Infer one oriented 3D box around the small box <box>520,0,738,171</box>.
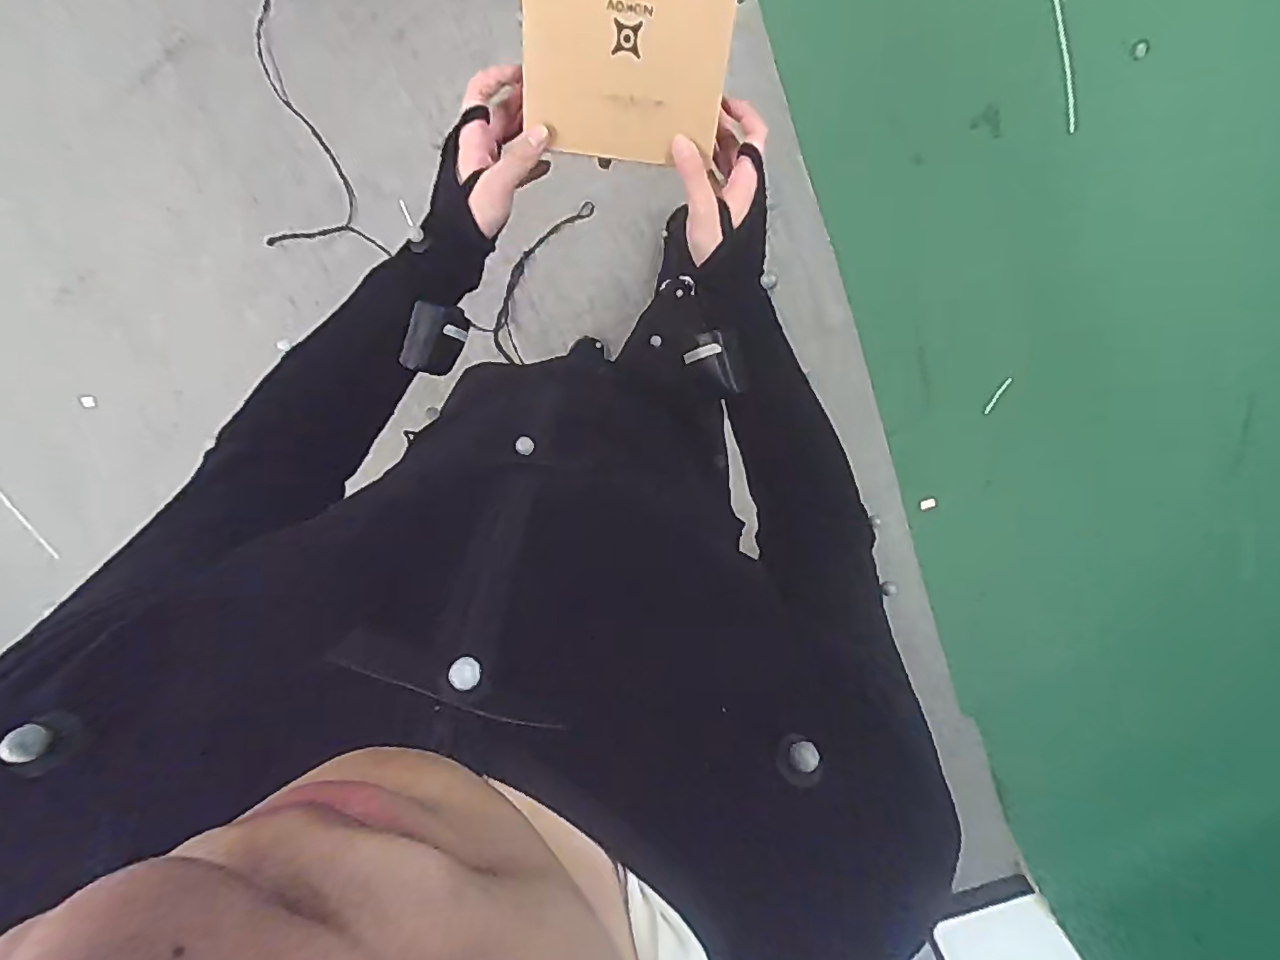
[{"bbox_3d":[-0.011,-0.394,0.487,0.168,0.176,0.179,6,123,-4],"label":"small box"}]
